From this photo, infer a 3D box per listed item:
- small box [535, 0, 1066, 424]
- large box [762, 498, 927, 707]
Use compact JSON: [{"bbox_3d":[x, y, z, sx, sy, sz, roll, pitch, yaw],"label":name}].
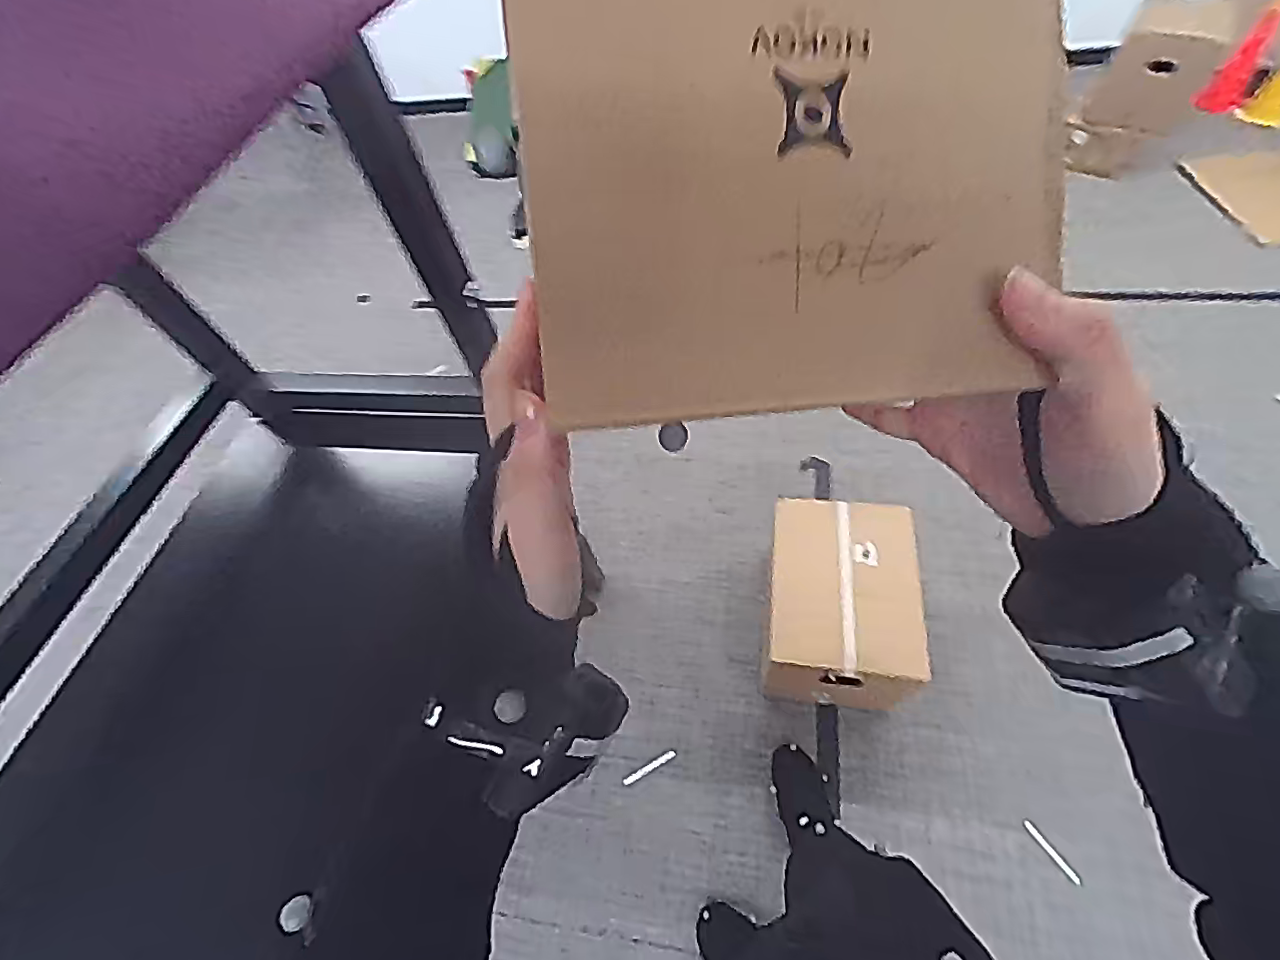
[{"bbox_3d":[0.042,-0.119,0.241,0.168,0.176,0.179,-5,96,-8],"label":"small box"},{"bbox_3d":[0.462,0.298,1.317,0.320,0.320,0.408,4,56,10],"label":"large box"}]
